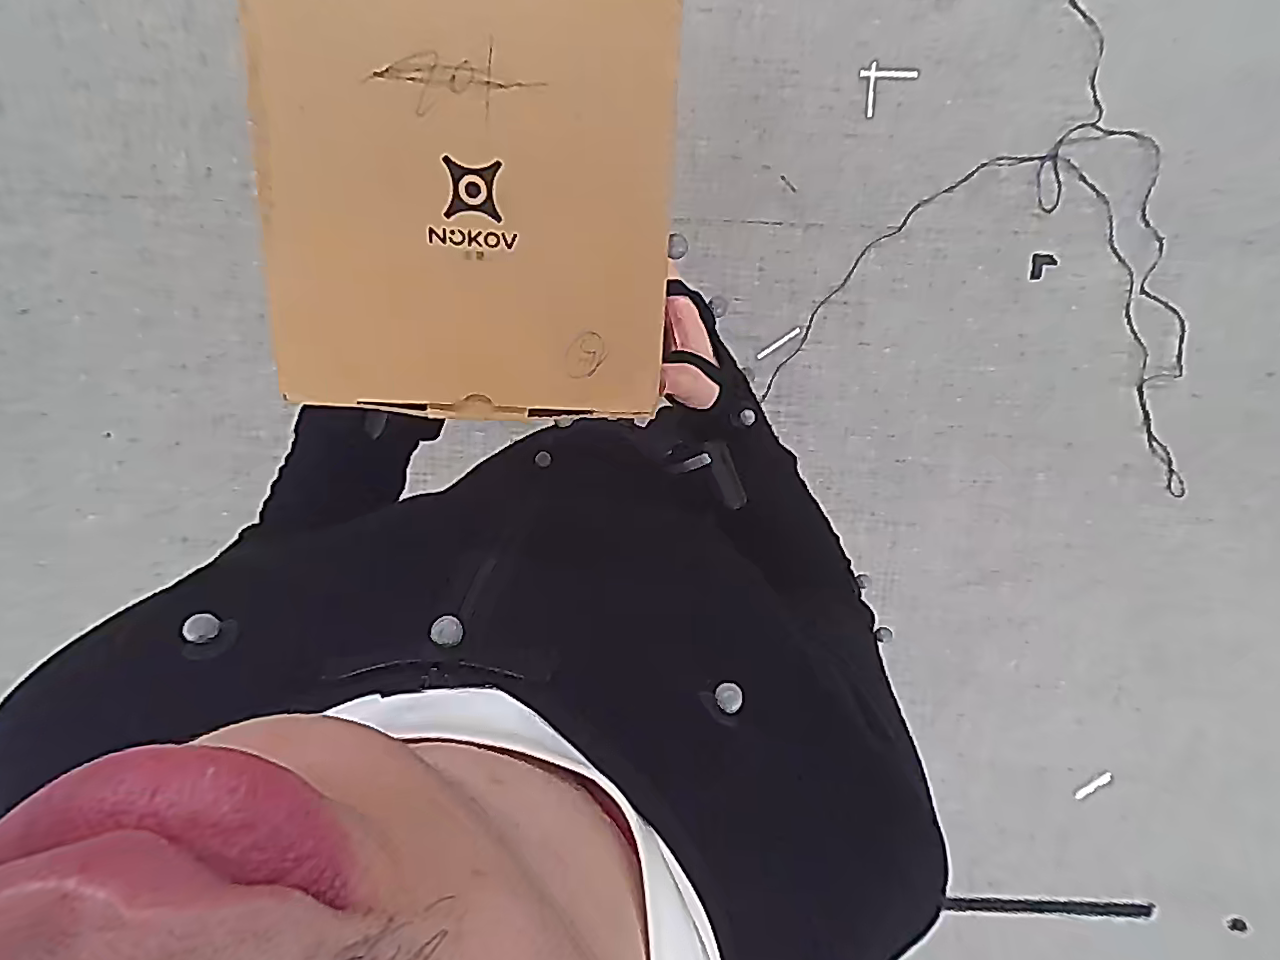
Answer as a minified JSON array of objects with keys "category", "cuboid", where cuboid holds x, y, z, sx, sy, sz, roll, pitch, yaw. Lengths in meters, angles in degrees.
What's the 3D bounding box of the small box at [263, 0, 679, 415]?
[{"category":"small box","cuboid":[-0.078,-0.137,0.312,0.168,0.176,0.179,1,103,-8]}]
